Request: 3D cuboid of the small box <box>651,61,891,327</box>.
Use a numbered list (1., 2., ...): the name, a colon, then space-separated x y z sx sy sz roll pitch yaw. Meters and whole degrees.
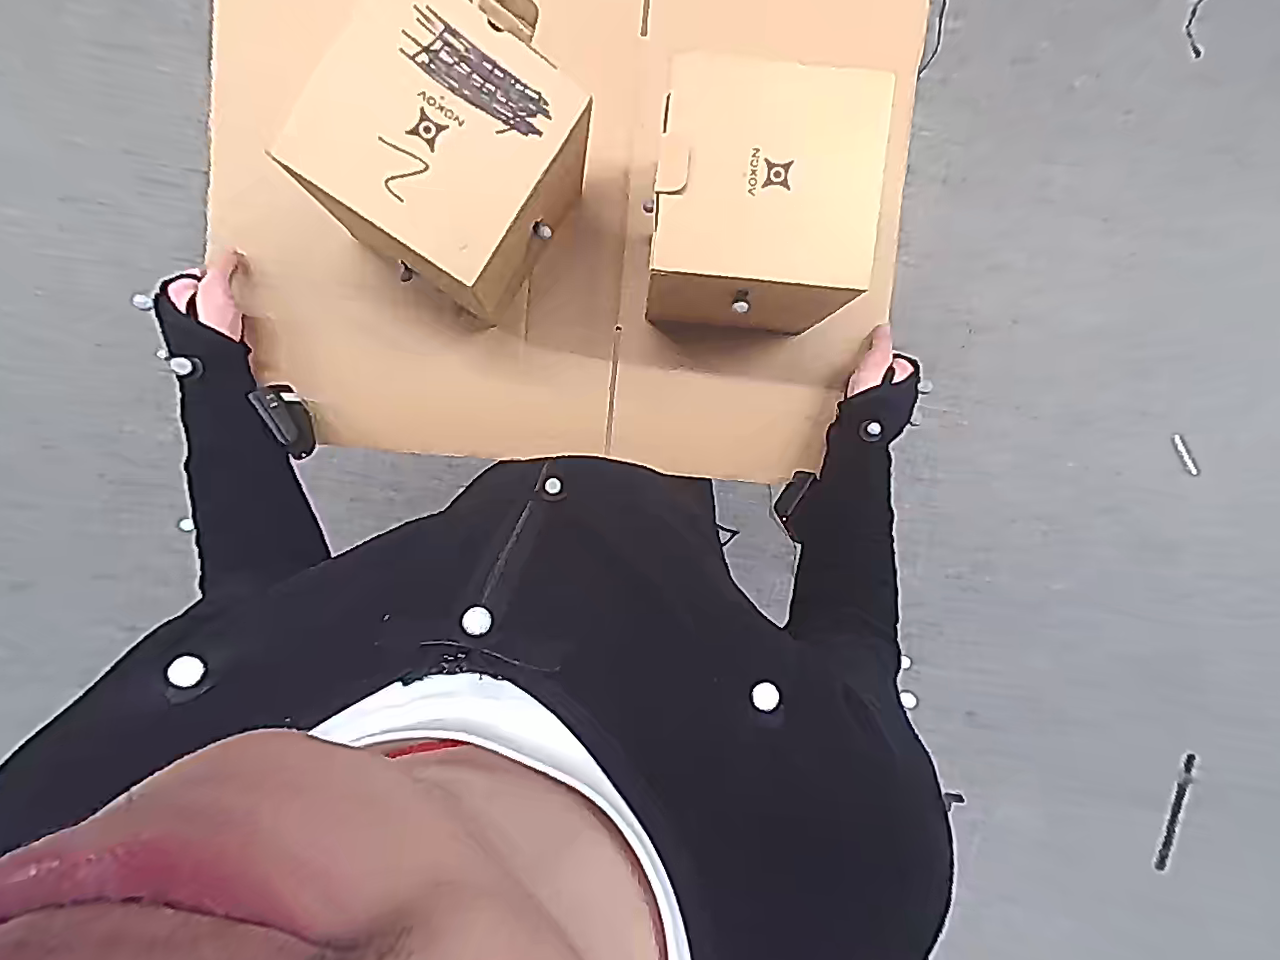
1. small box: 0.106 -0.248 0.513 0.179 0.176 0.168 5 94 0
